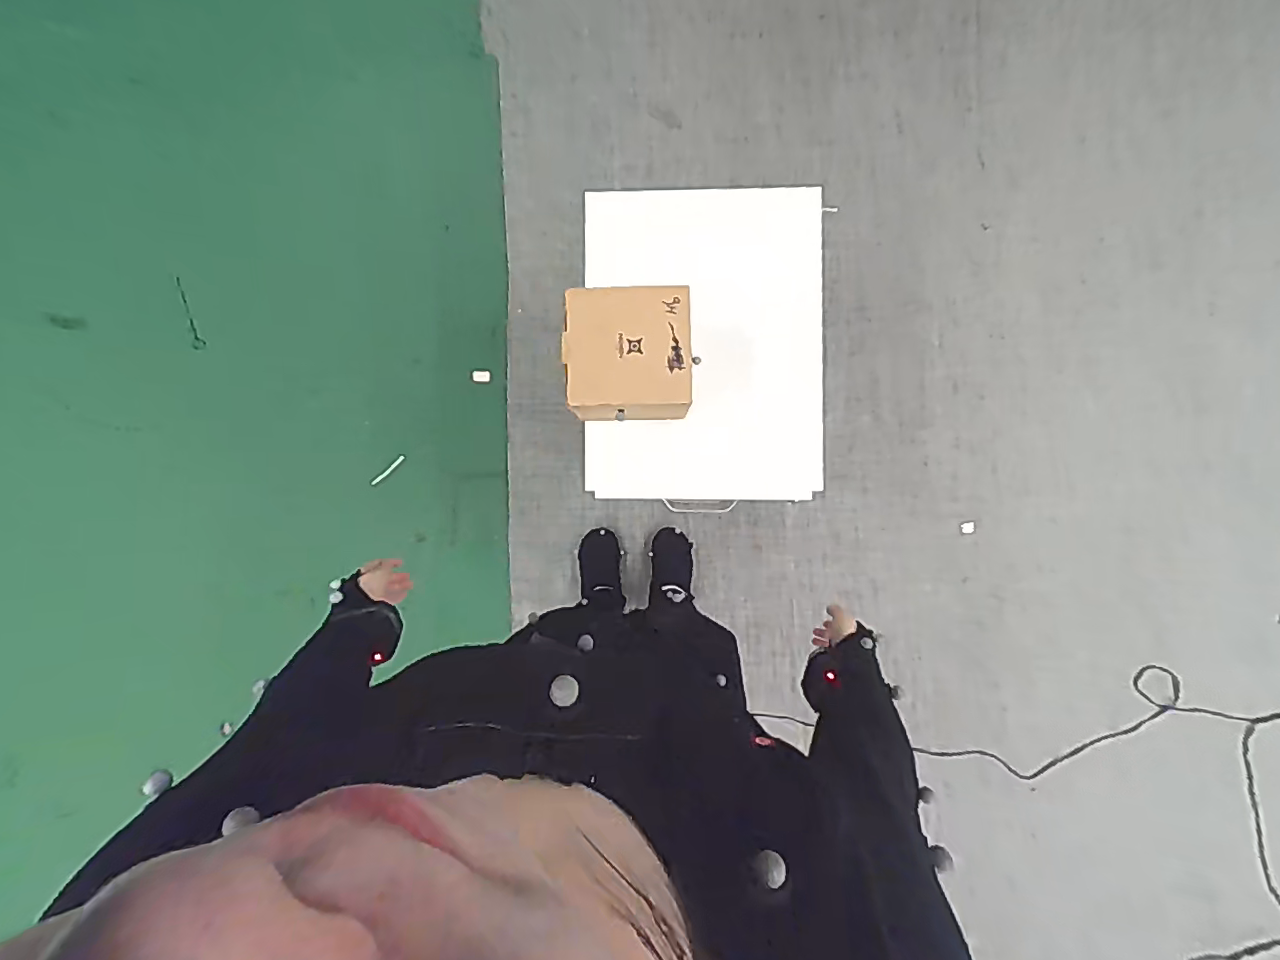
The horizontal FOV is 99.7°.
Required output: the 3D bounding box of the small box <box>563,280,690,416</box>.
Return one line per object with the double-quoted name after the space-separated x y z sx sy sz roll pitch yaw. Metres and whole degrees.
-0.016 -0.190 0.822 0.179 0.176 0.168 -1 89 1 "small box"
